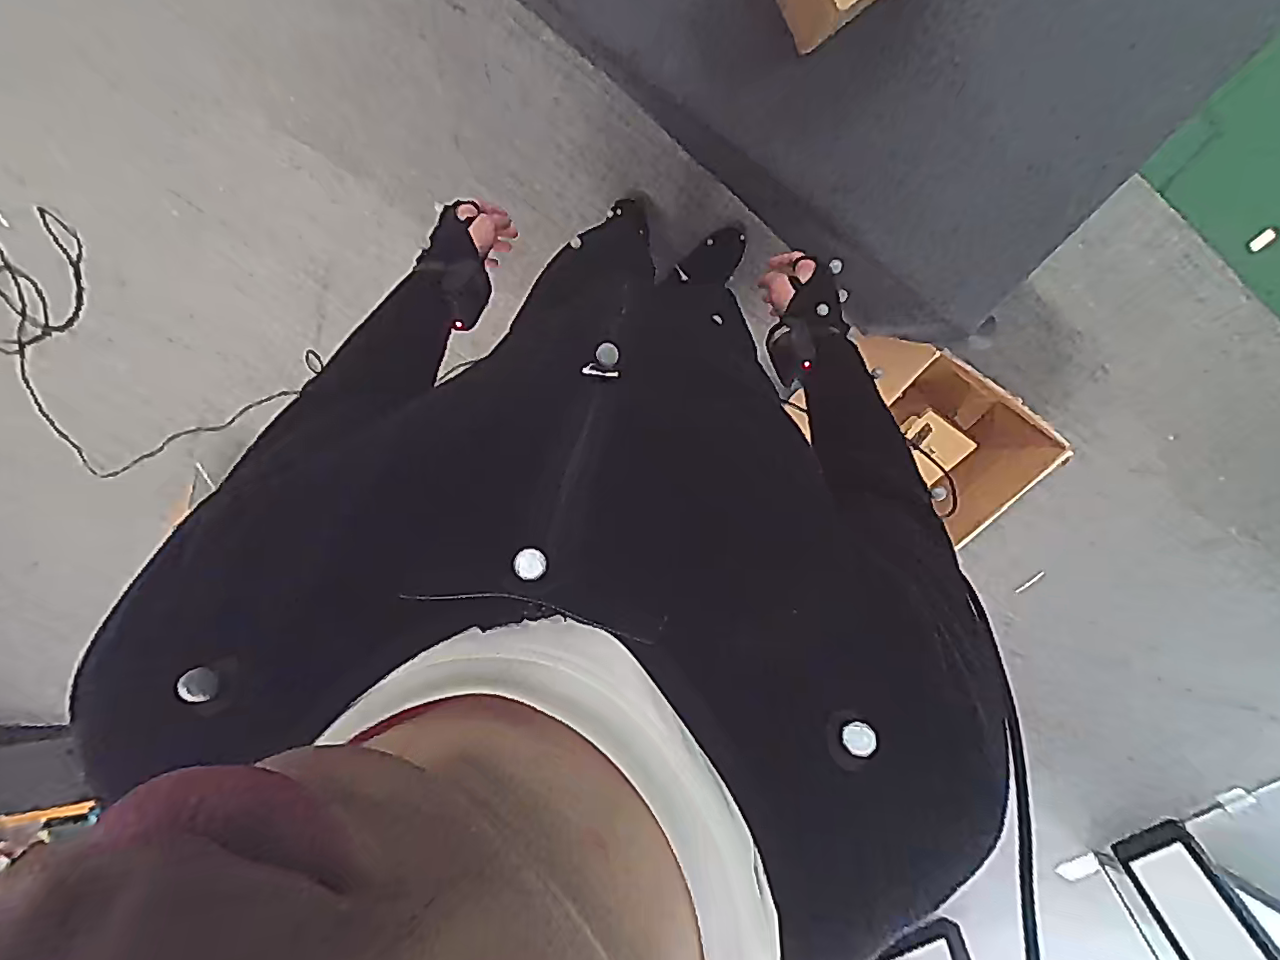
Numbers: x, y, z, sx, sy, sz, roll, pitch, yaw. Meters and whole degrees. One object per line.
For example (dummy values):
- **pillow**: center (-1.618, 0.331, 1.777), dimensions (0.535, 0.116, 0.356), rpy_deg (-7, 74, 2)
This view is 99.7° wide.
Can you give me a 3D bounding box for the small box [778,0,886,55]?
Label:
- **small box**: center (0.198, -0.526, 0.477), dimensions (0.179, 0.176, 0.168), rpy_deg (-29, 111, 20)
